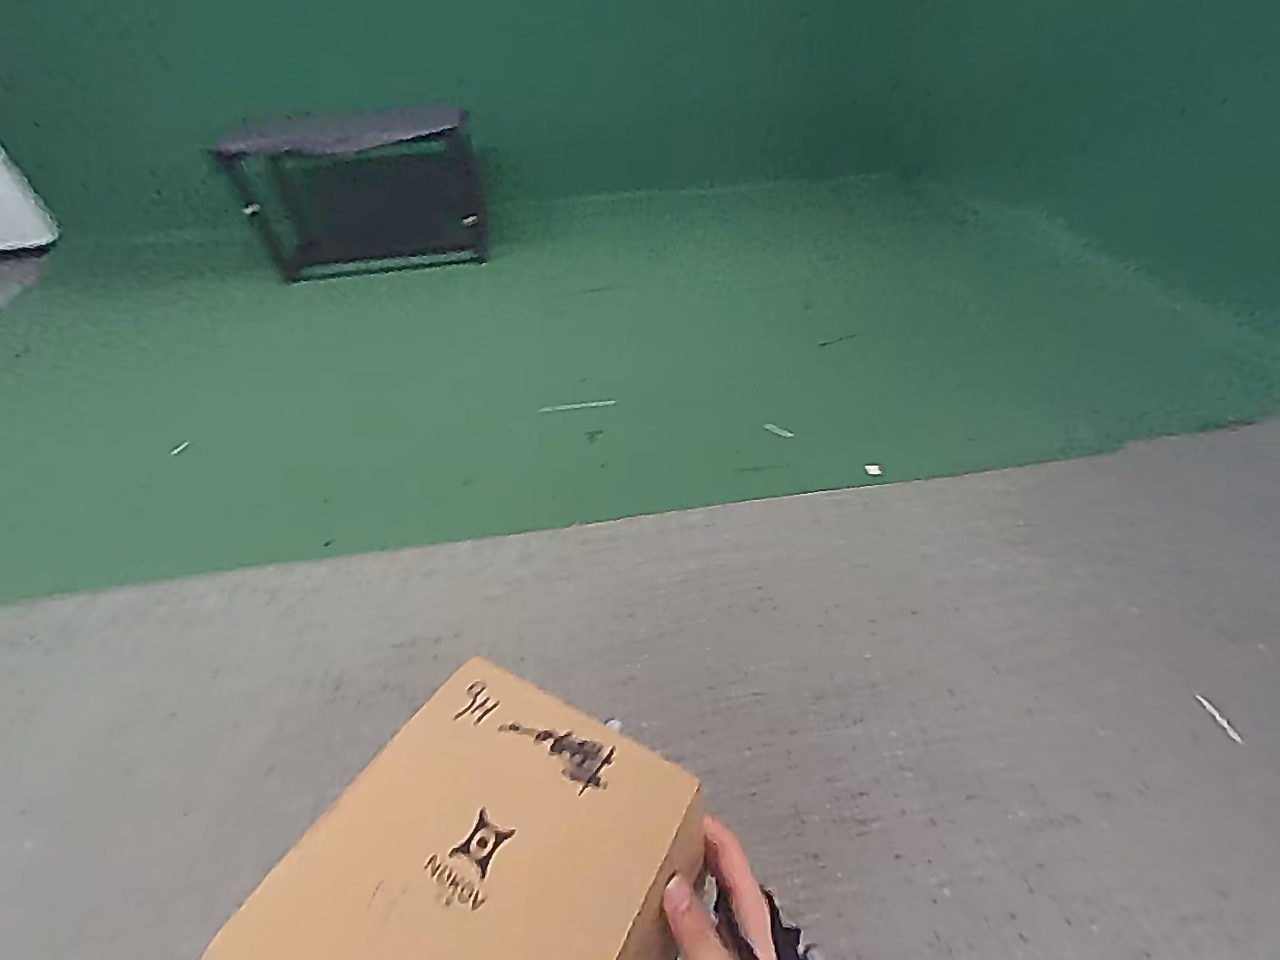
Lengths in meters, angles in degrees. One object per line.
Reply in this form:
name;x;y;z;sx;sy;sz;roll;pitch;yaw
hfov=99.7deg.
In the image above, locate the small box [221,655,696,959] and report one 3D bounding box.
small box;-0.073;0.246;0.314;0.168;0.176;0.179;16;44;27
